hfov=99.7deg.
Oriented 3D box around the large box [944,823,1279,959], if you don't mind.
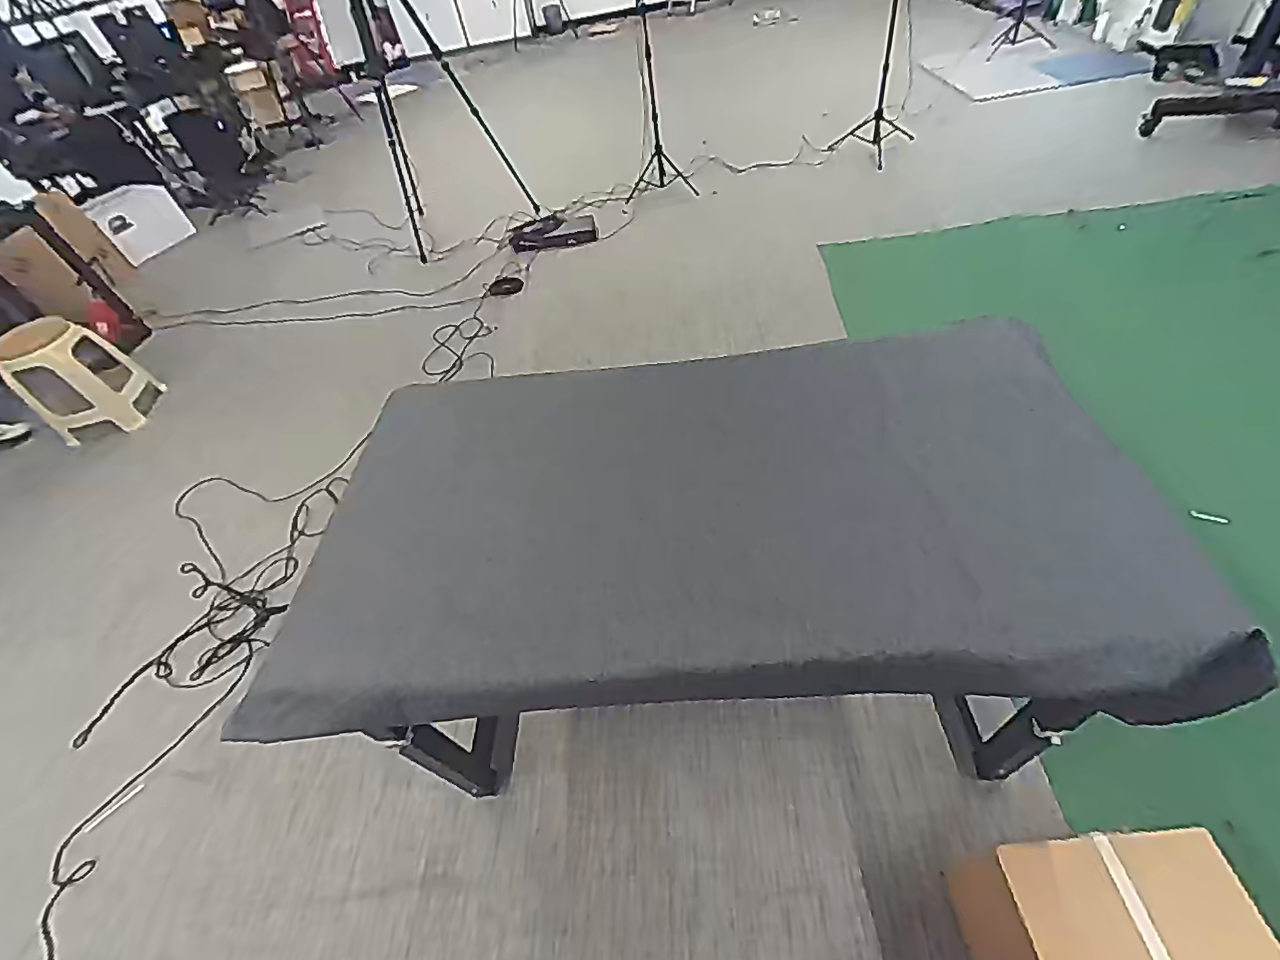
[{"bbox_3d":[0.732,0.784,0.808,0.320,0.320,0.408,-8,48,5],"label":"large box"}]
